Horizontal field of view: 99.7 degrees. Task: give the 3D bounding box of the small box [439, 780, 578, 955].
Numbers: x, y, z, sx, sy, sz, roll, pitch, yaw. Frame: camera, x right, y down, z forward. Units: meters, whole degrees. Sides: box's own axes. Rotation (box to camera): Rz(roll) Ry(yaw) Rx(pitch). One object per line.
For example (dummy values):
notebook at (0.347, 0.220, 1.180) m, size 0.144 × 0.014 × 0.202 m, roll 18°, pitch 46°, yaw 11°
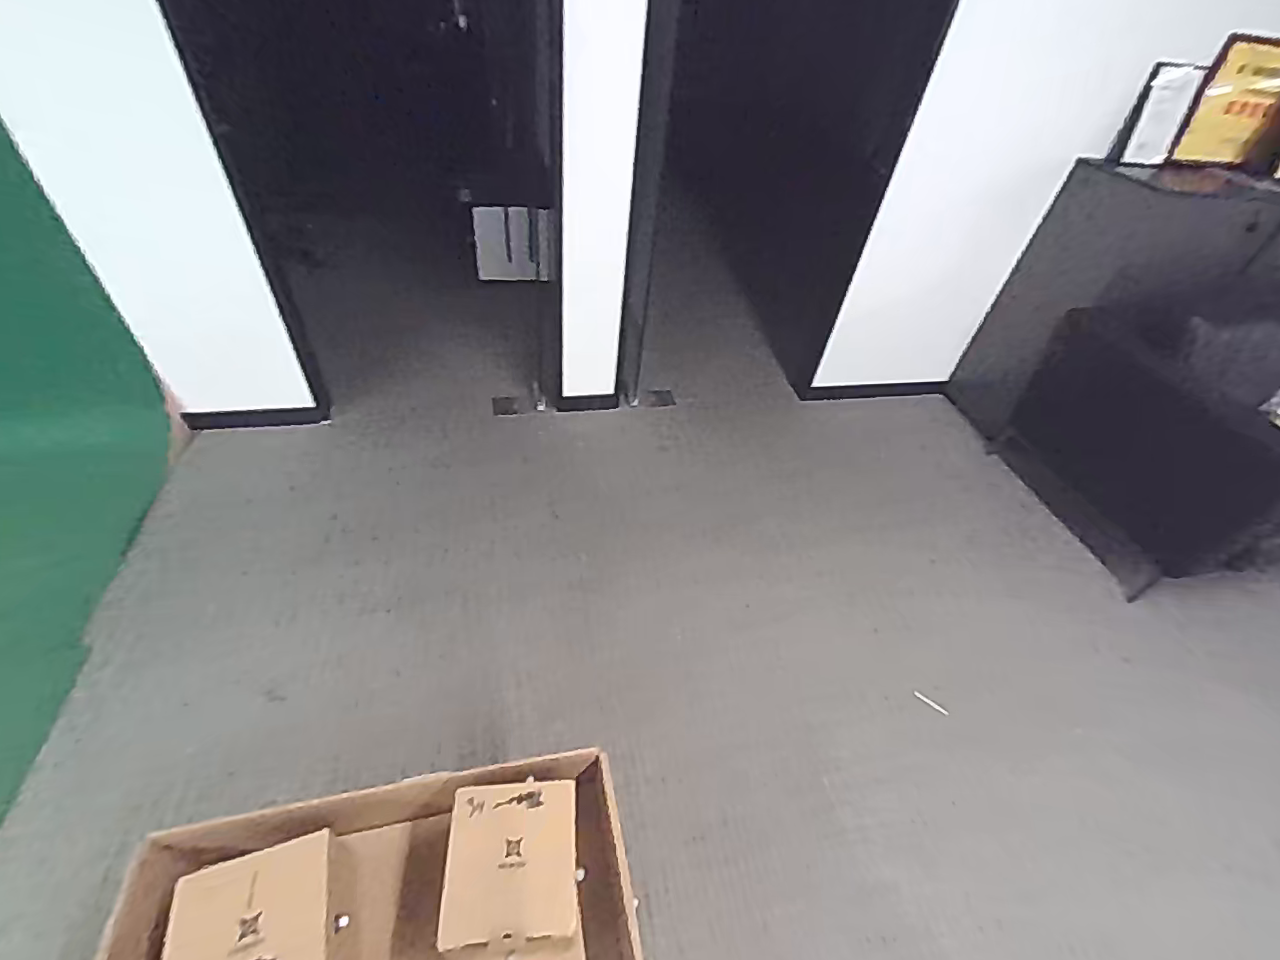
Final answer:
small box at (-0.171, 0.545, 0.760) m, size 0.168 × 0.176 × 0.179 m, roll 0°, pitch 46°, yaw -8°
